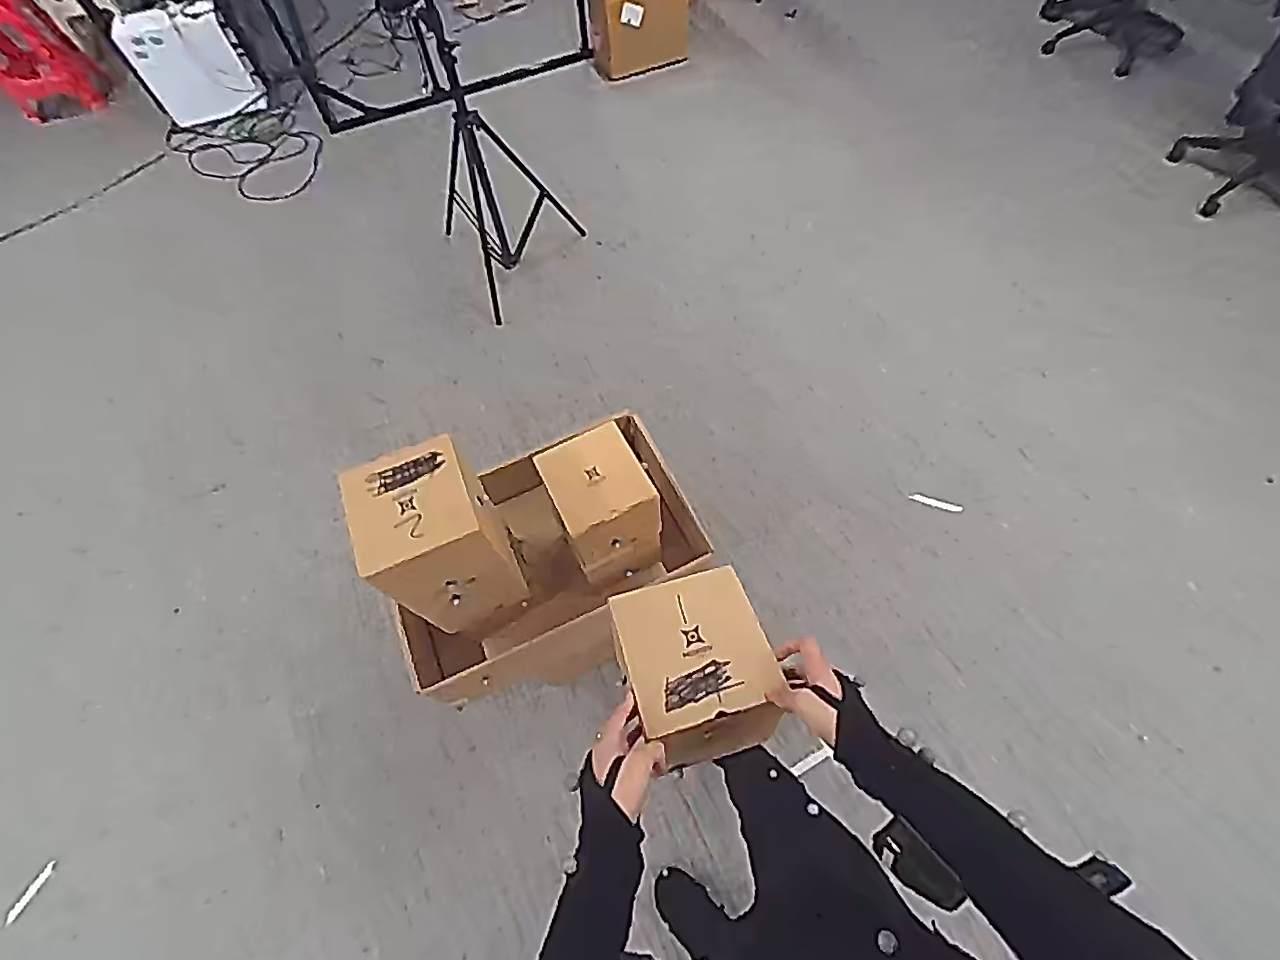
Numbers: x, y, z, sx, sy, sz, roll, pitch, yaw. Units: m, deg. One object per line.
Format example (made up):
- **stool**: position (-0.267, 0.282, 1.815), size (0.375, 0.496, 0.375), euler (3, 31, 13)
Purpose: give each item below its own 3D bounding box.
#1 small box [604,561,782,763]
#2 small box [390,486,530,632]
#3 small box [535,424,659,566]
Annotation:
- **small box**: position (0.059, 0.236, 0.684), size (0.168, 0.176, 0.179), euler (-14, 49, -10)
- **small box**: position (-0.314, 0.146, 0.965), size (0.168, 0.176, 0.179), euler (-24, 62, -8)
- **small box**: position (-0.076, 0.033, 1.011), size (0.168, 0.176, 0.179), euler (-26, 64, -10)
